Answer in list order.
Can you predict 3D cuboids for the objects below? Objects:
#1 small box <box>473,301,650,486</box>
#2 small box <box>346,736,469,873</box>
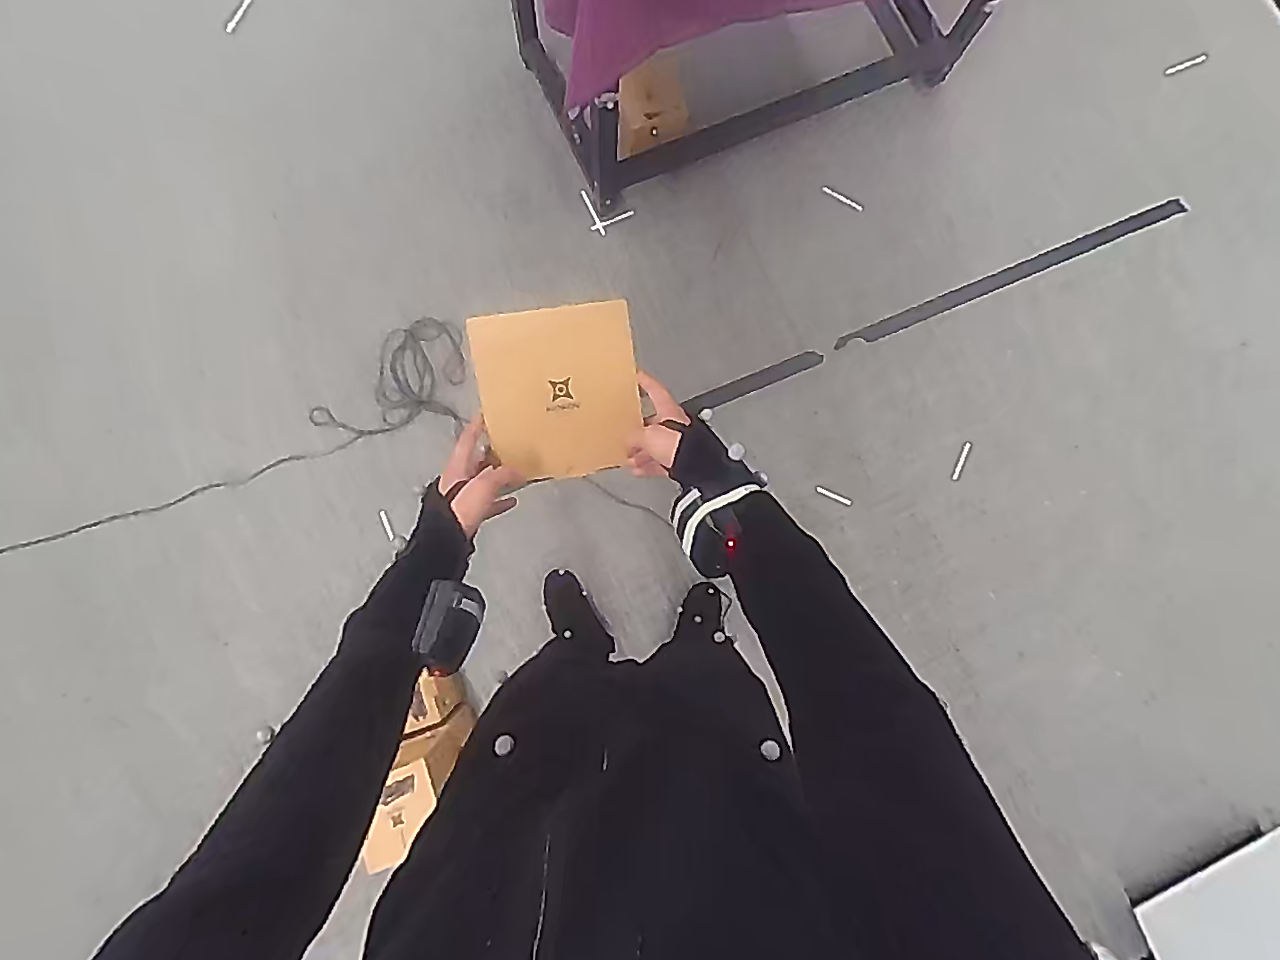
[{"bbox_3d":[-0.093,-0.100,0.637,0.168,0.176,0.179,-9,100,-9],"label":"small box"},{"bbox_3d":[-0.481,0.665,1.140,0.168,0.176,0.179,-19,86,-5],"label":"small box"}]
